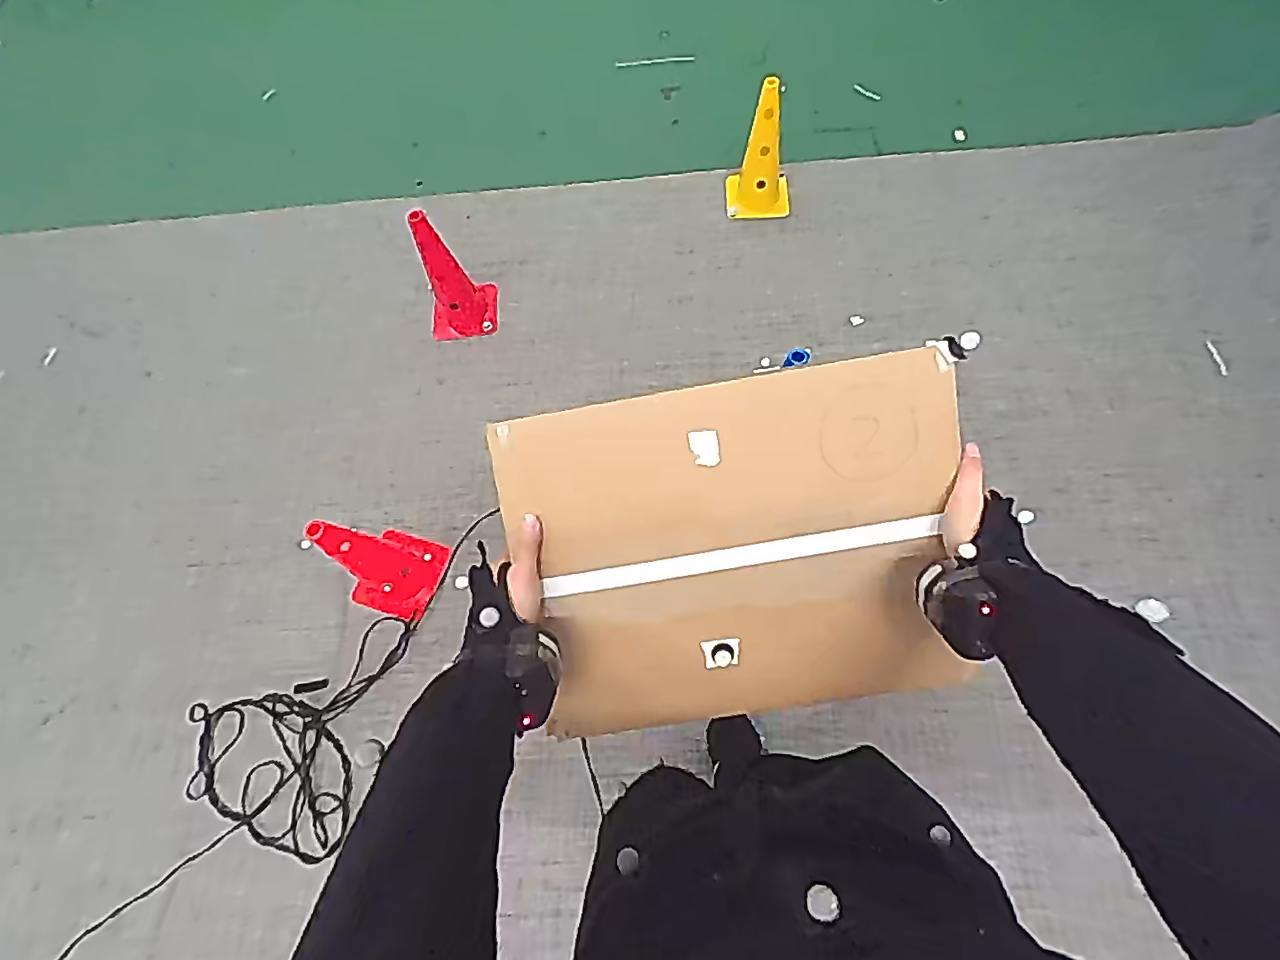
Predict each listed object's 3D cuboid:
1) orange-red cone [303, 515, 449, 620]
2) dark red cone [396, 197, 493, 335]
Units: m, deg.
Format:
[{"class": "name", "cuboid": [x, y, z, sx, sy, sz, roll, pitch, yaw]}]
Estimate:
[{"class": "orange-red cone", "cuboid": [-0.618, 0.161, 1.203, 0.199, 0.360, 0.198, 15, 67, 14]}, {"class": "dark red cone", "cuboid": [-0.569, -0.608, 1.525, 0.202, 0.394, 0.201, -10, 62, 2]}]
